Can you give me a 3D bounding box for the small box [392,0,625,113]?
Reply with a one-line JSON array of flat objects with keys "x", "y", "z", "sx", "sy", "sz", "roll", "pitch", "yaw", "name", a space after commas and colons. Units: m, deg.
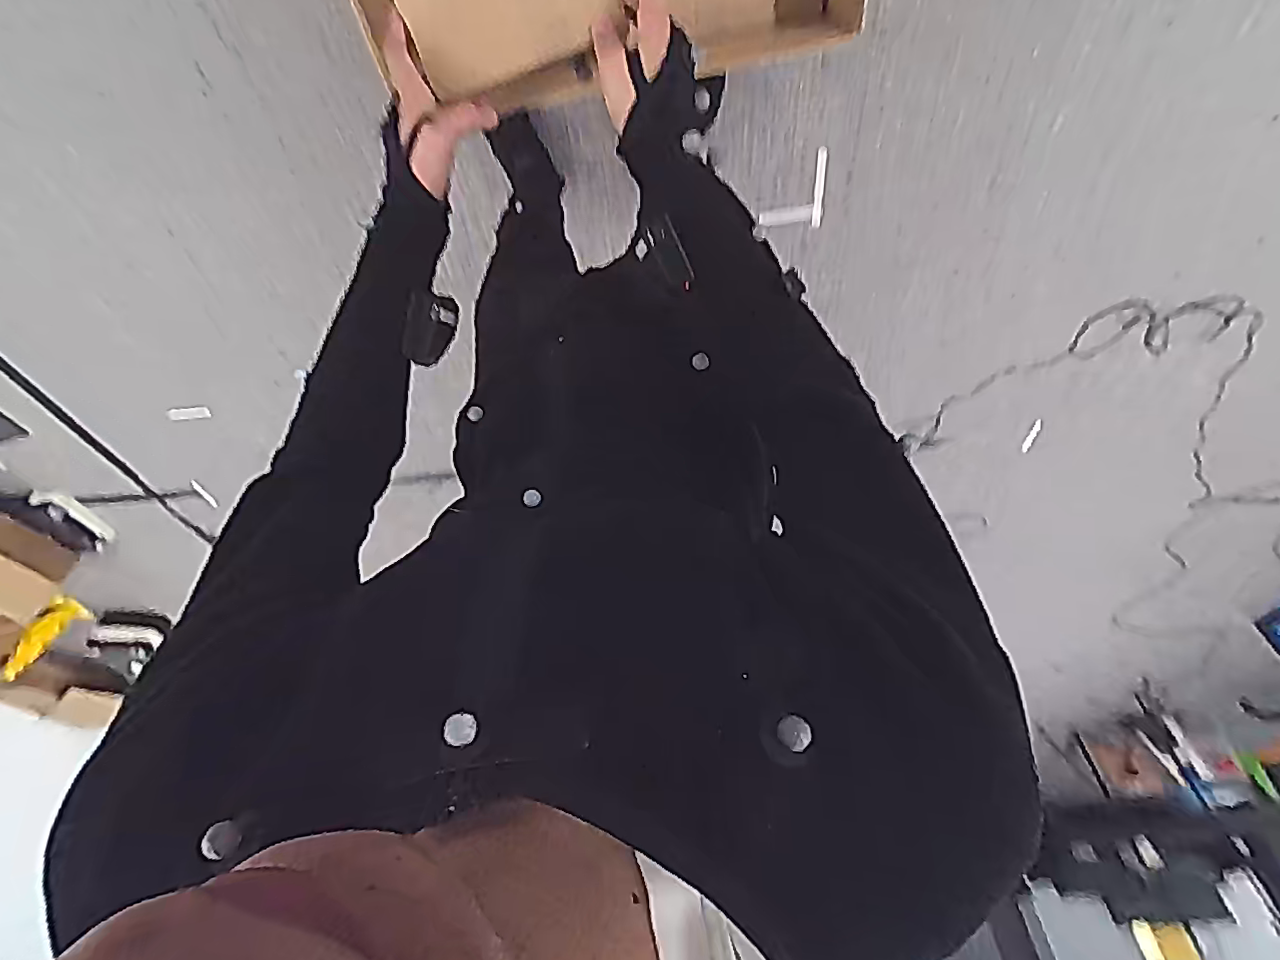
[{"x": -0.123, "y": -0.453, "z": 0.480, "sx": 0.179, "sy": 0.176, "sz": 0.168, "roll": -17, "pitch": 118, "yaw": 5, "name": "small box"}]
